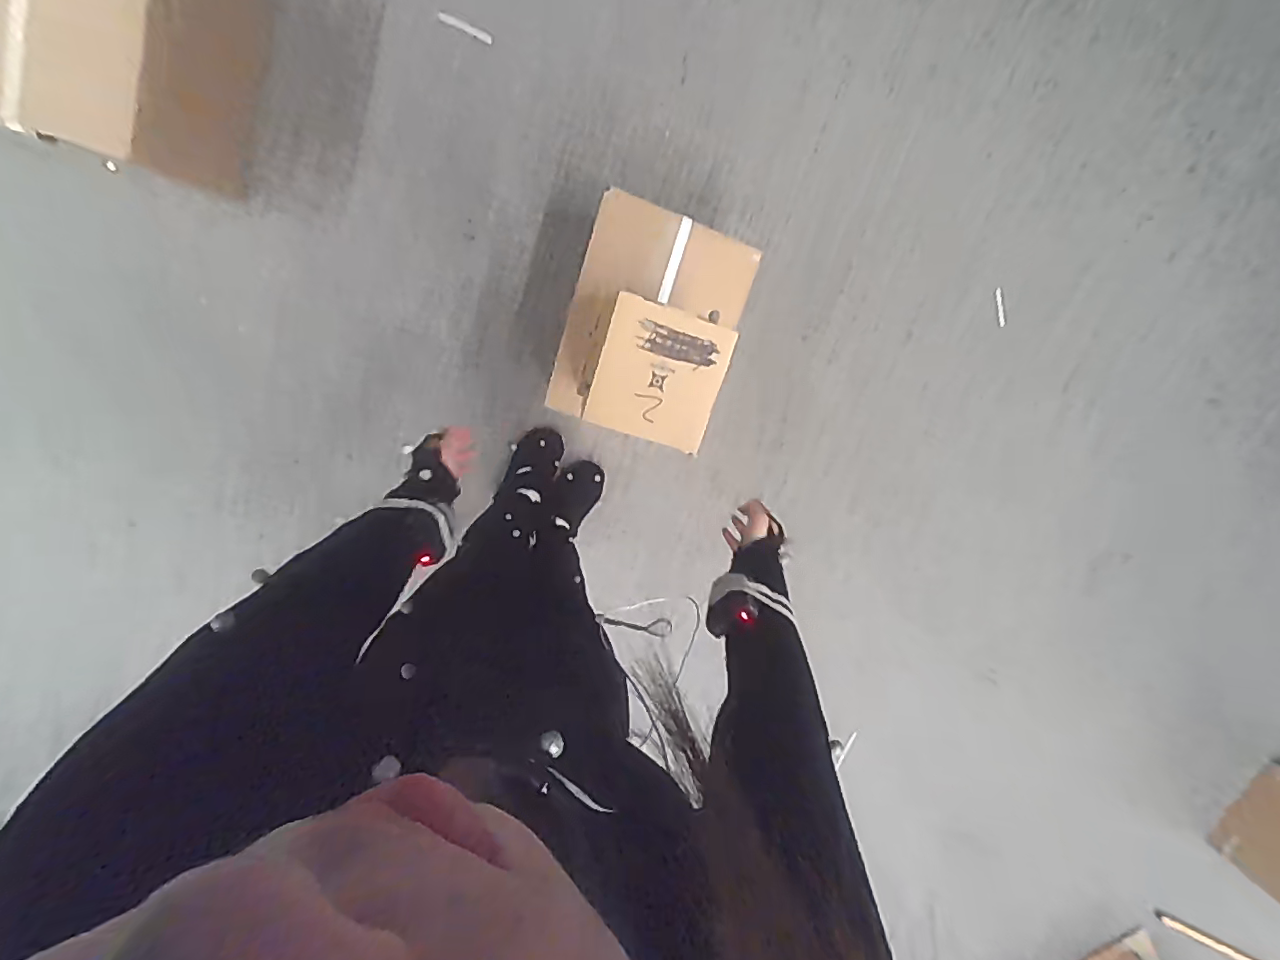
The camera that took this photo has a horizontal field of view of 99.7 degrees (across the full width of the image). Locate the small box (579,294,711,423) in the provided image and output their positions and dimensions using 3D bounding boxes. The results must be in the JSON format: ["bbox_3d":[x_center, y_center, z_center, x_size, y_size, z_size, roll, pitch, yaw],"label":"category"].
[{"bbox_3d":[0.000,-0.214,0.942,0.179,0.176,0.168,16,104,-10],"label":"small box"}]

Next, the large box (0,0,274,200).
[{"bbox_3d":[-0.889,-0.764,0.916,0.320,0.320,0.408,17,102,-12],"label":"large box"}]
